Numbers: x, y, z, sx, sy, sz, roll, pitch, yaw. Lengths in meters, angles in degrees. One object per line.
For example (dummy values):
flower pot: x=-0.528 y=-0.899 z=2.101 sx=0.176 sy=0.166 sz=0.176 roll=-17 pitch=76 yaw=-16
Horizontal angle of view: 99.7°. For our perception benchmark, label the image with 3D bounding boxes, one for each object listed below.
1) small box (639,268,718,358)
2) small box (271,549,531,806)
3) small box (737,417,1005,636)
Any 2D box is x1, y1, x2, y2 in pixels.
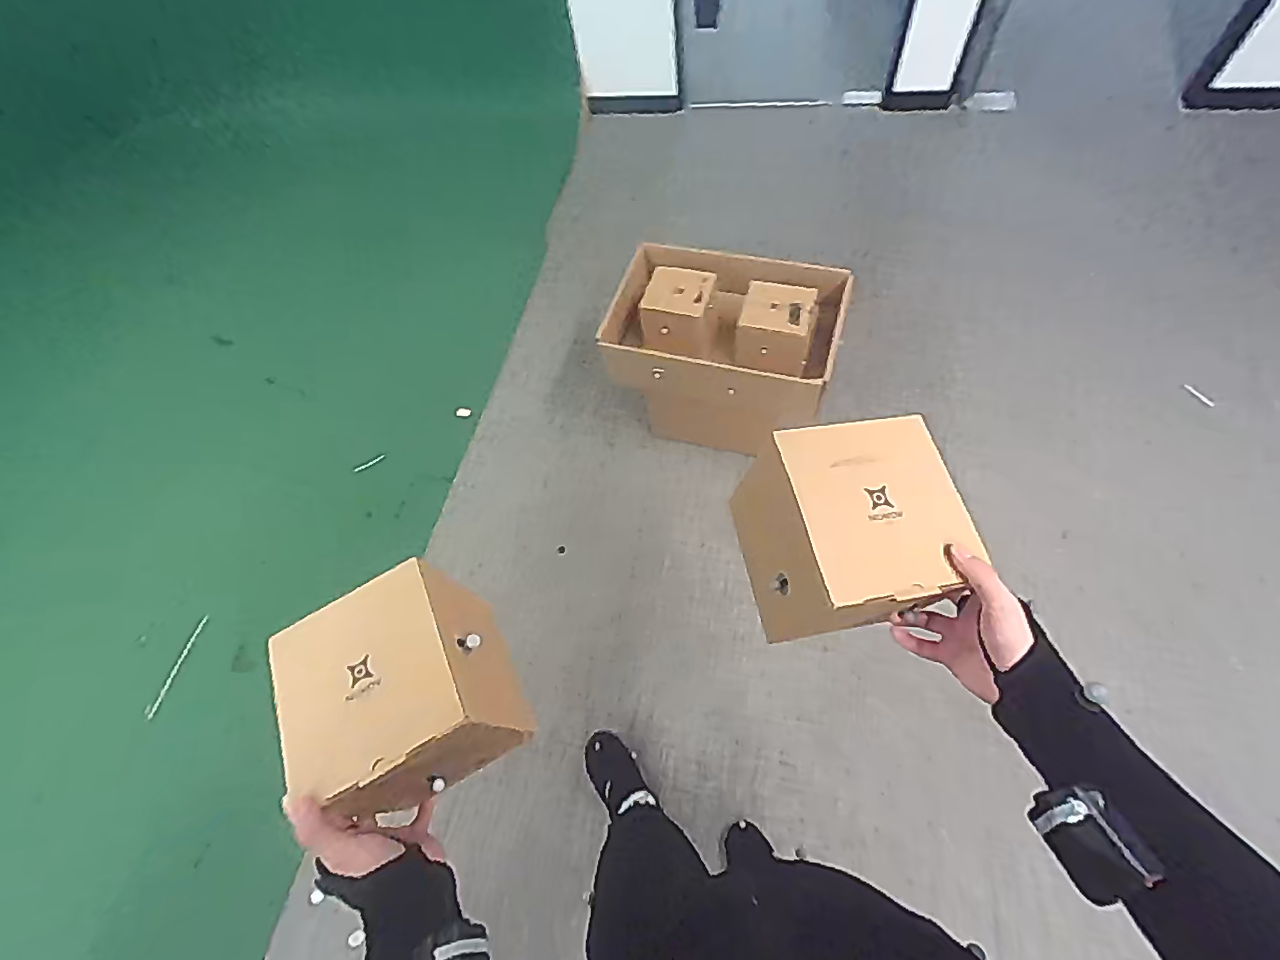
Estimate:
small box: x=0.114 y=-0.466 z=1.526 sx=0.179 sy=0.176 sz=0.168 roll=14 pitch=65 yaw=15
small box: x=-0.236 y=0.205 z=0.557 sx=0.168 sy=0.176 sz=0.179 roll=-28 pitch=61 yaw=-4
small box: x=0.215 y=0.057 z=0.560 sx=0.168 sy=0.176 sz=0.179 roll=-5 pitch=64 yaw=-10
